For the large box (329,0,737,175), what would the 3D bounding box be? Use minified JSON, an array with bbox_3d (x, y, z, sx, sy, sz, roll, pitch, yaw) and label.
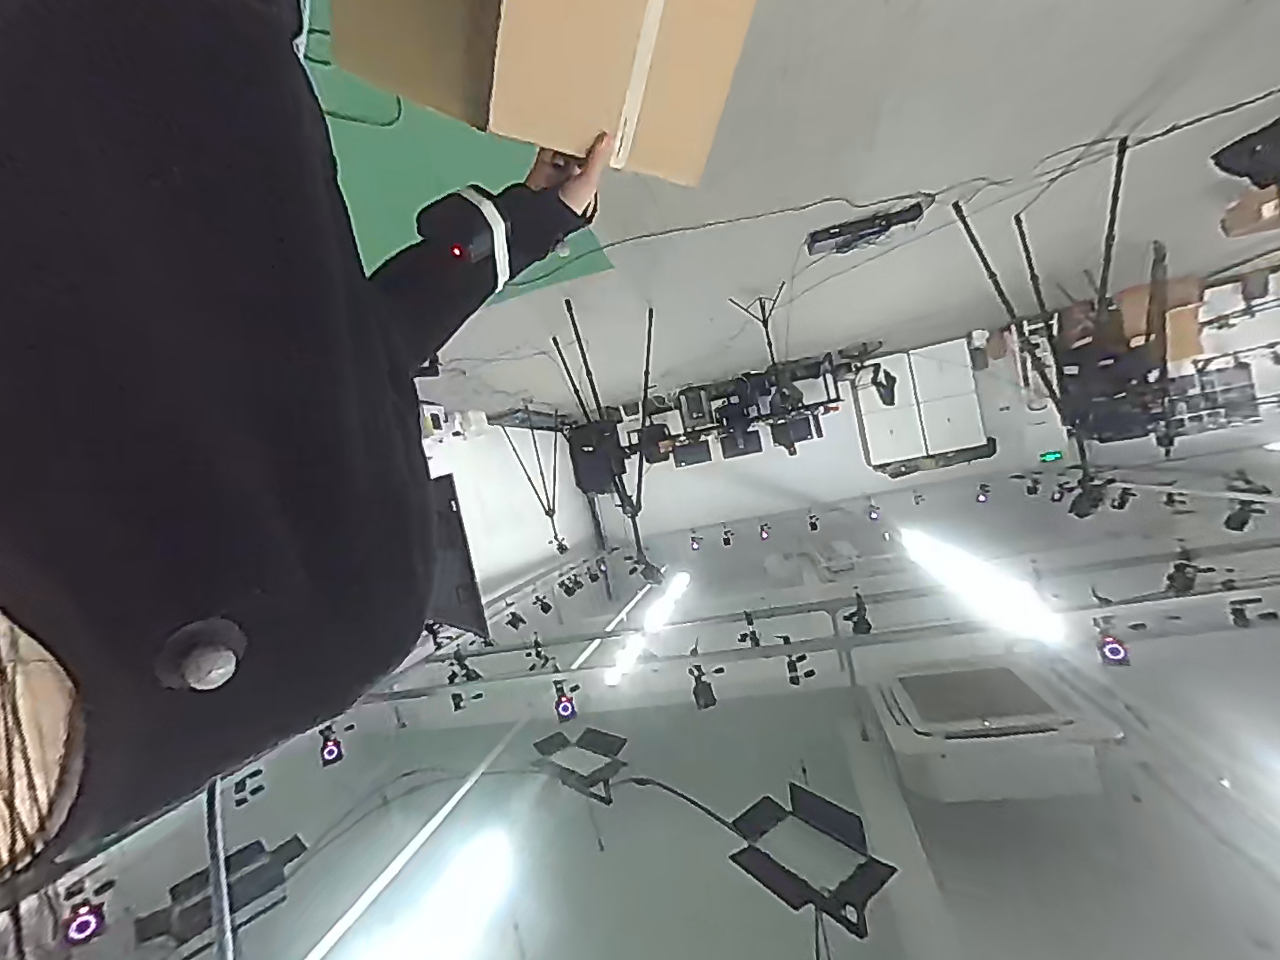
[{"bbox_3d":[-0.093,-0.584,0.539,0.320,0.408,0.320,38,-144,27],"label":"large box"}]
